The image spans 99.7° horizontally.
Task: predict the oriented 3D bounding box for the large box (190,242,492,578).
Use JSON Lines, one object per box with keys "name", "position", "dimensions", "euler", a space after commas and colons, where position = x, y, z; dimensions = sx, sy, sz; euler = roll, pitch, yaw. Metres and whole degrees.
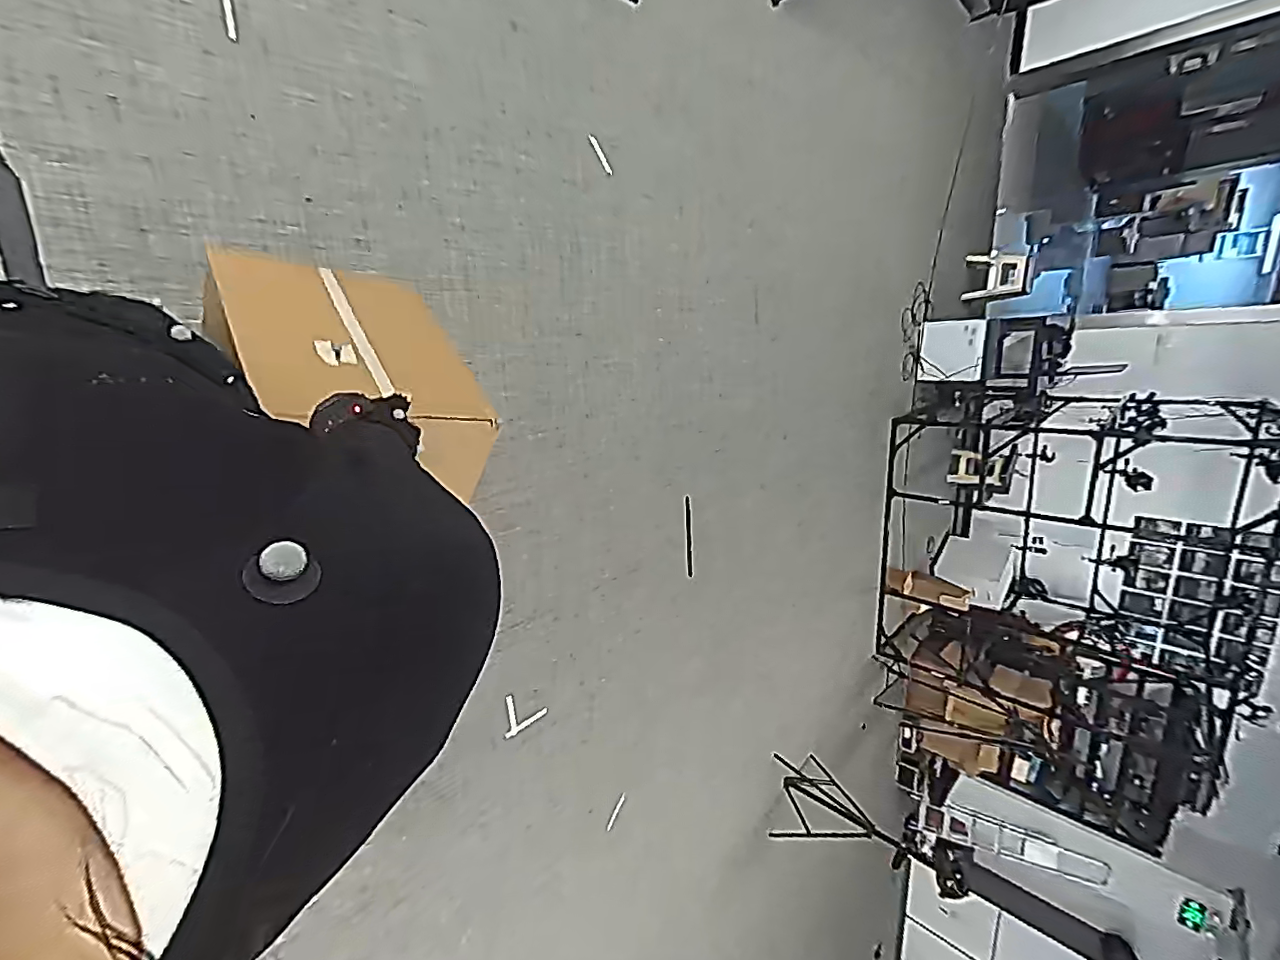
{"name": "large box", "position": [-0.505, -0.110, 0.881], "dimensions": [0.320, 0.408, 0.320], "euler": [-5, 139, -44]}
